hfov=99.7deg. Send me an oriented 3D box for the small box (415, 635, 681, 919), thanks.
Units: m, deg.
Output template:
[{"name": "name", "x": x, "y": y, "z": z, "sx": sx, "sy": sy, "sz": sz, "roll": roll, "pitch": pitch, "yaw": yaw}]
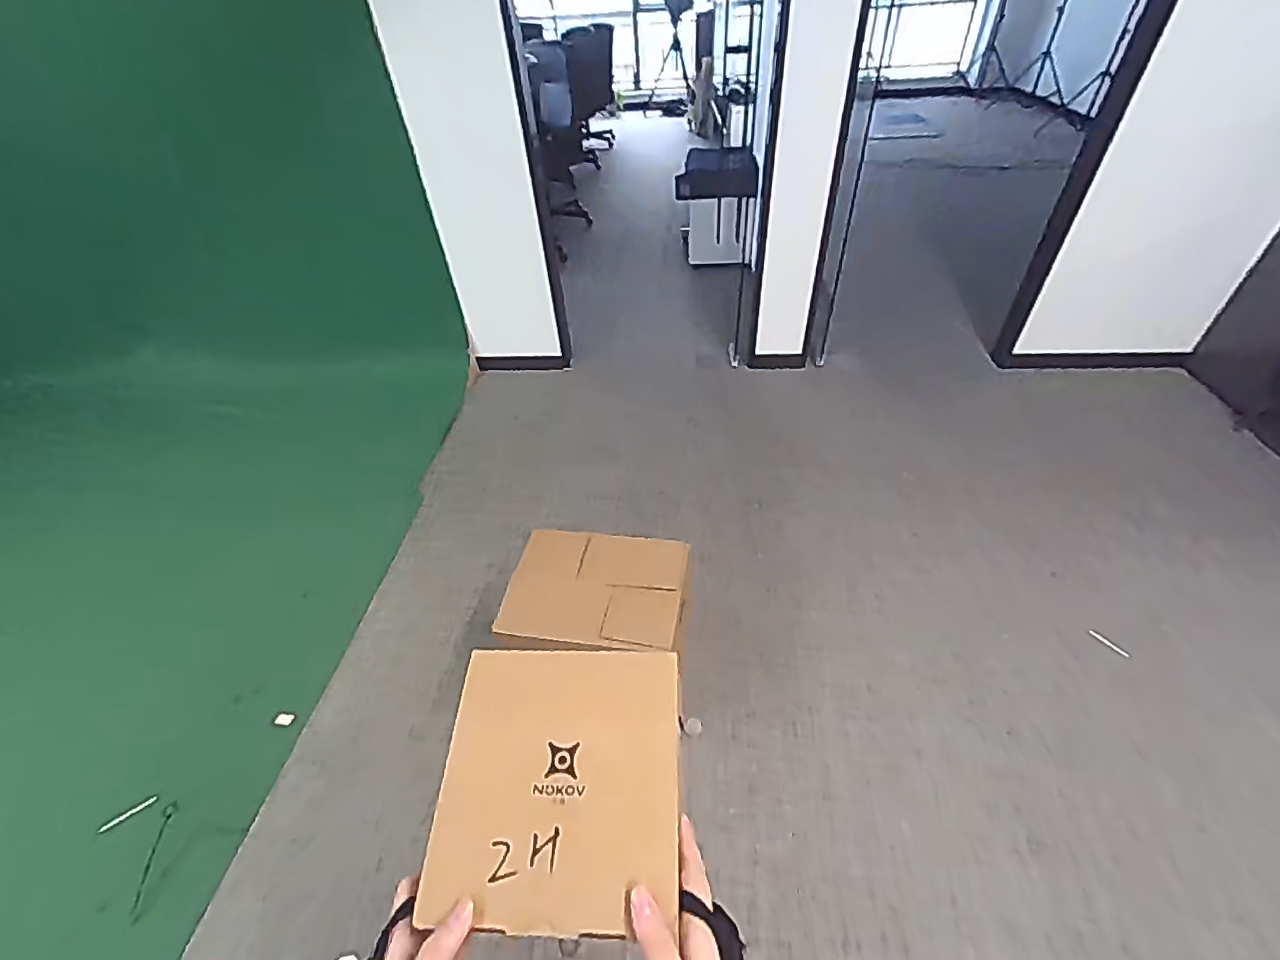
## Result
[{"name": "small box", "x": -0.052, "y": 0.245, "z": 0.447, "sx": 0.168, "sy": 0.176, "sz": 0.179, "roll": -1, "pitch": 53, "yaw": 6}]
